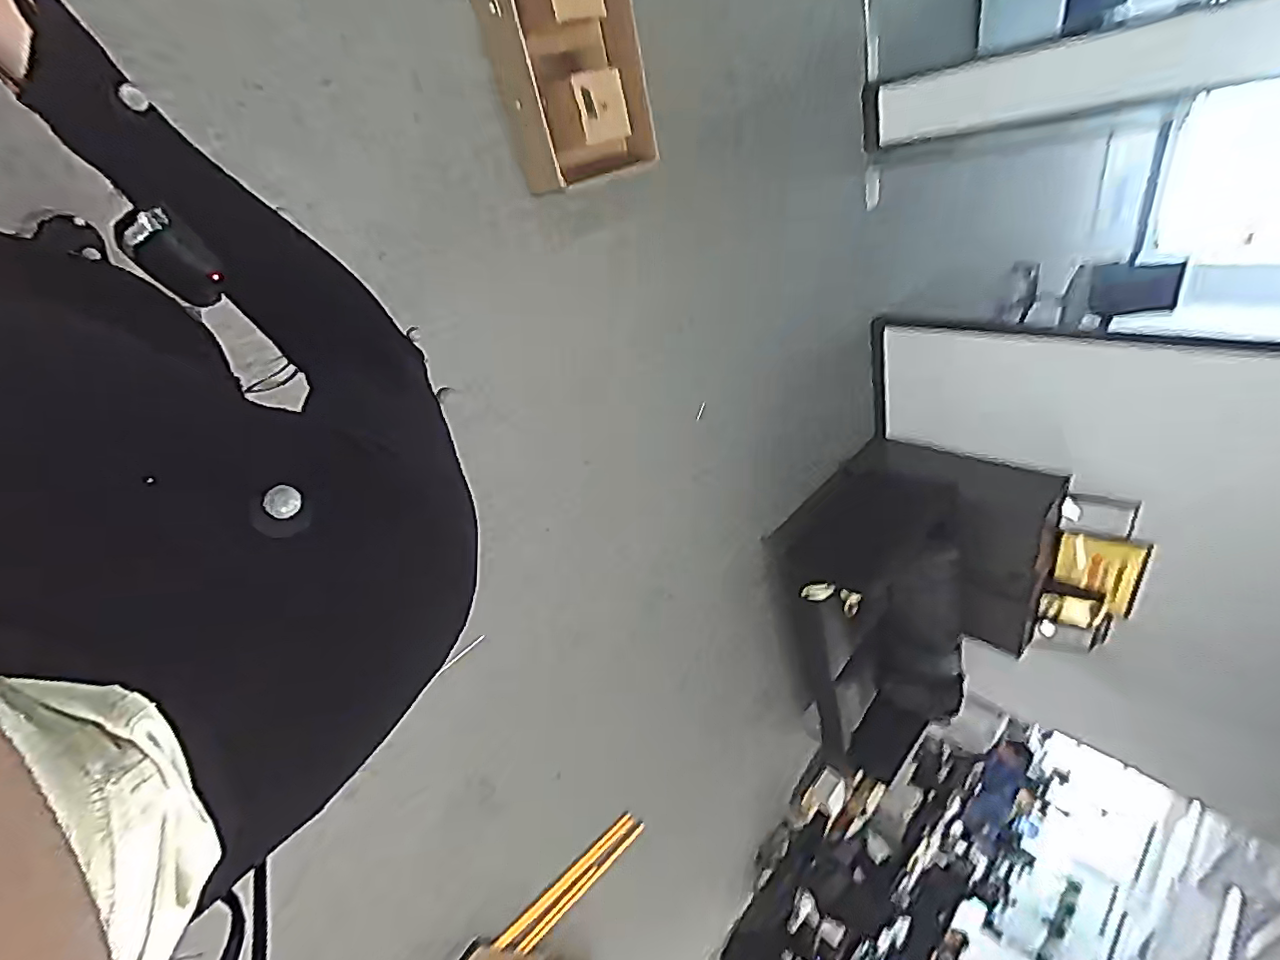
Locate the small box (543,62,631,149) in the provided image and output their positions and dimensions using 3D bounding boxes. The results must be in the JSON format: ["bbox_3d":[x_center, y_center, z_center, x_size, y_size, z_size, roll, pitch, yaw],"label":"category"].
[{"bbox_3d":[-0.158,-1.075,1.561,0.179,0.176,0.168,-37,127,-29],"label":"small box"}]
